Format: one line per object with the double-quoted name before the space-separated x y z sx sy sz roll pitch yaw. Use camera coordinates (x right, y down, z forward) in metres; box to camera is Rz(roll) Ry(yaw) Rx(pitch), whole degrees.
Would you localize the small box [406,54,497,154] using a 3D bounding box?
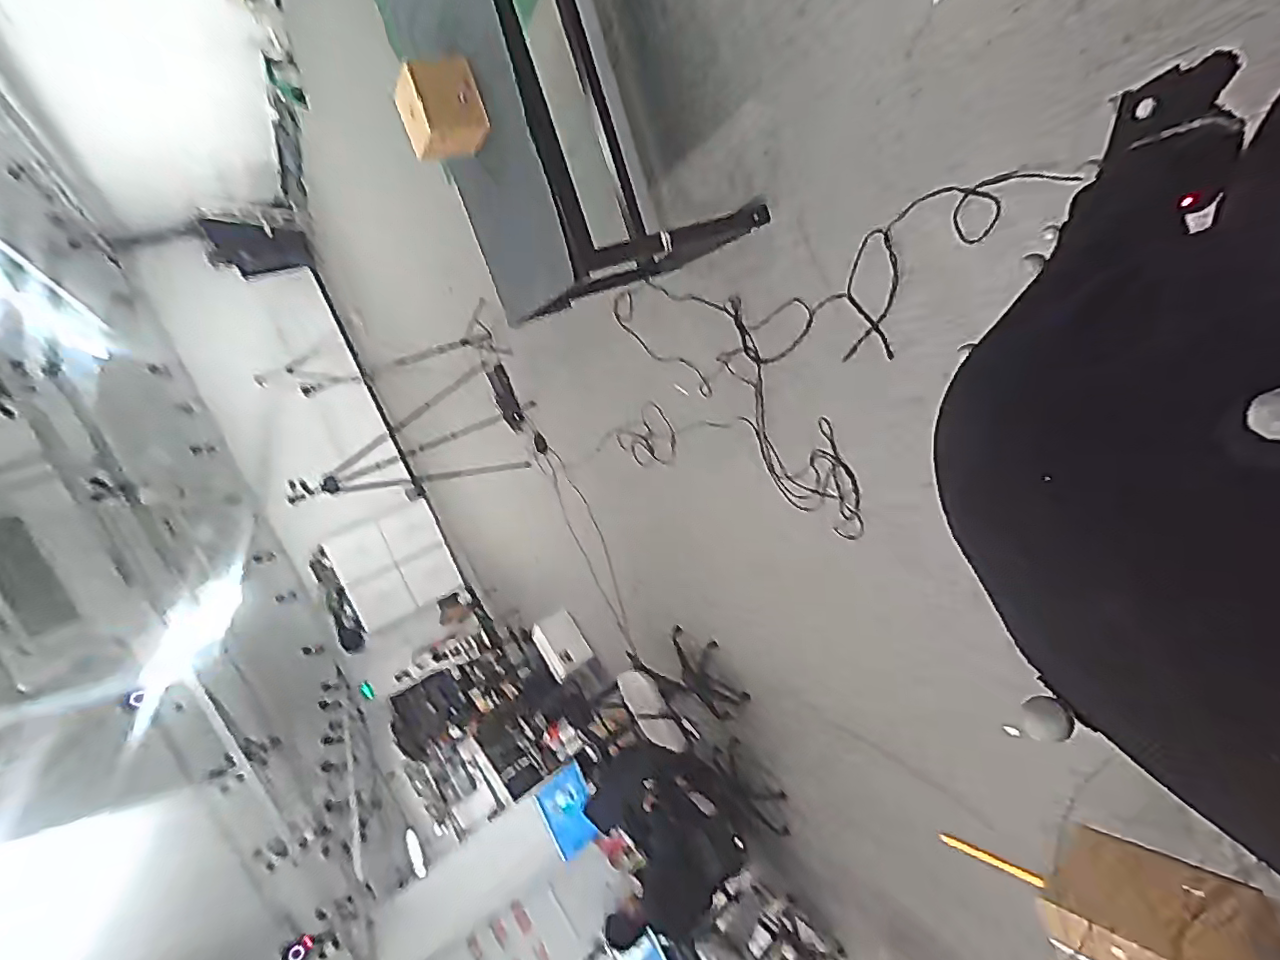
"small box" -0.511 -1.020 1.472 0.179 0.176 0.168 6 119 58
